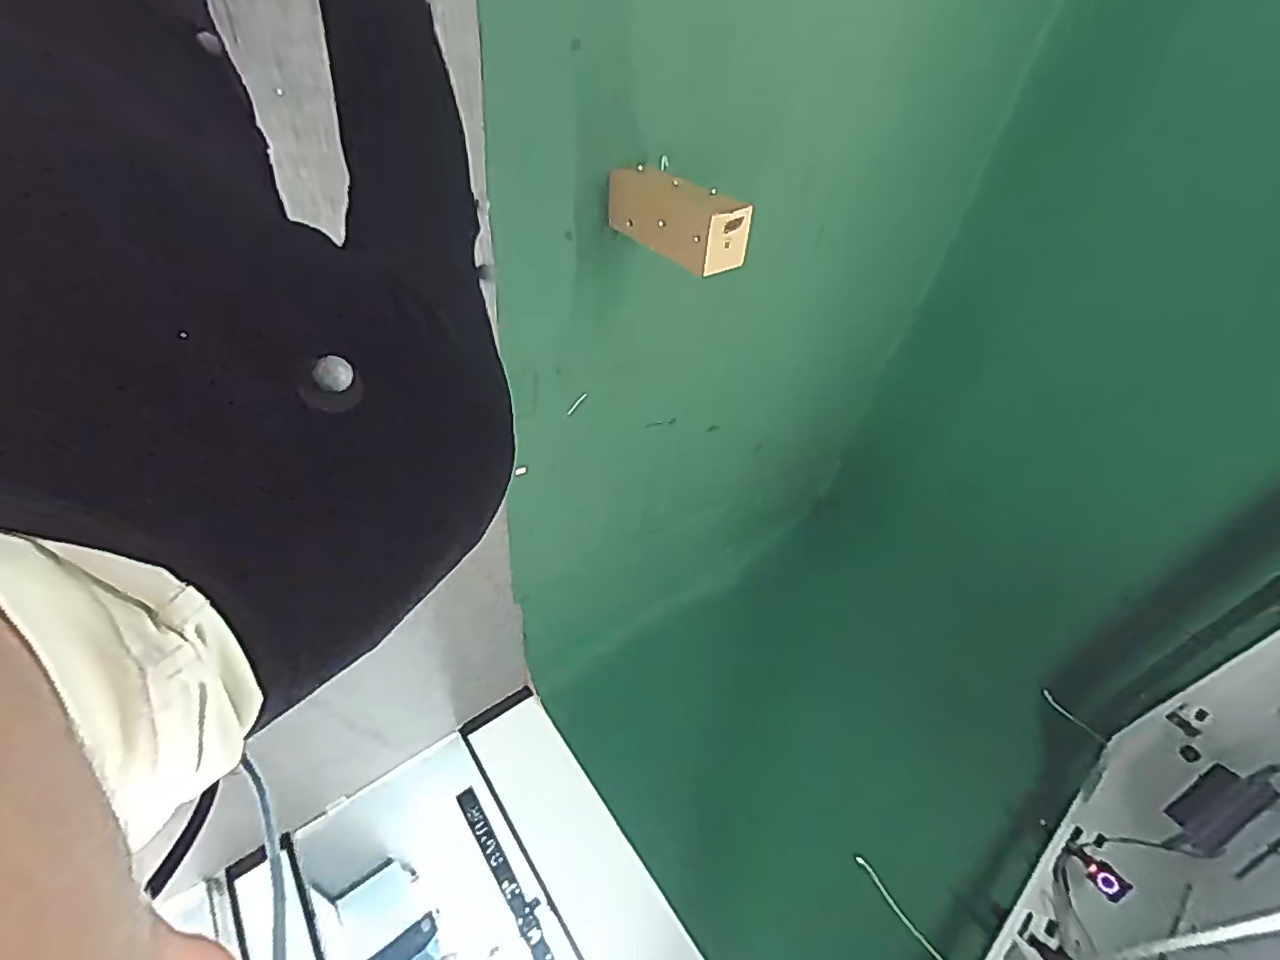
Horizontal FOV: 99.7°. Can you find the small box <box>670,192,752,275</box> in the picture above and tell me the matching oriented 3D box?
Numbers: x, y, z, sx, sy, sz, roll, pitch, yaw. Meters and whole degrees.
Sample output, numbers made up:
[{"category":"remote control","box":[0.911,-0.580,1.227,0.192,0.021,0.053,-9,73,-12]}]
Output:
[{"category":"small box","box":[0.205,-0.745,1.619,0.168,0.176,0.179,-25,142,-27]}]

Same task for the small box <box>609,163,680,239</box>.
[{"category":"small box","box":[0.009,-0.931,1.801,0.168,0.176,0.179,-26,142,-28]}]

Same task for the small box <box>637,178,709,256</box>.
[{"category":"small box","box":[0.107,-0.836,1.713,0.168,0.176,0.179,-24,141,-29]}]
